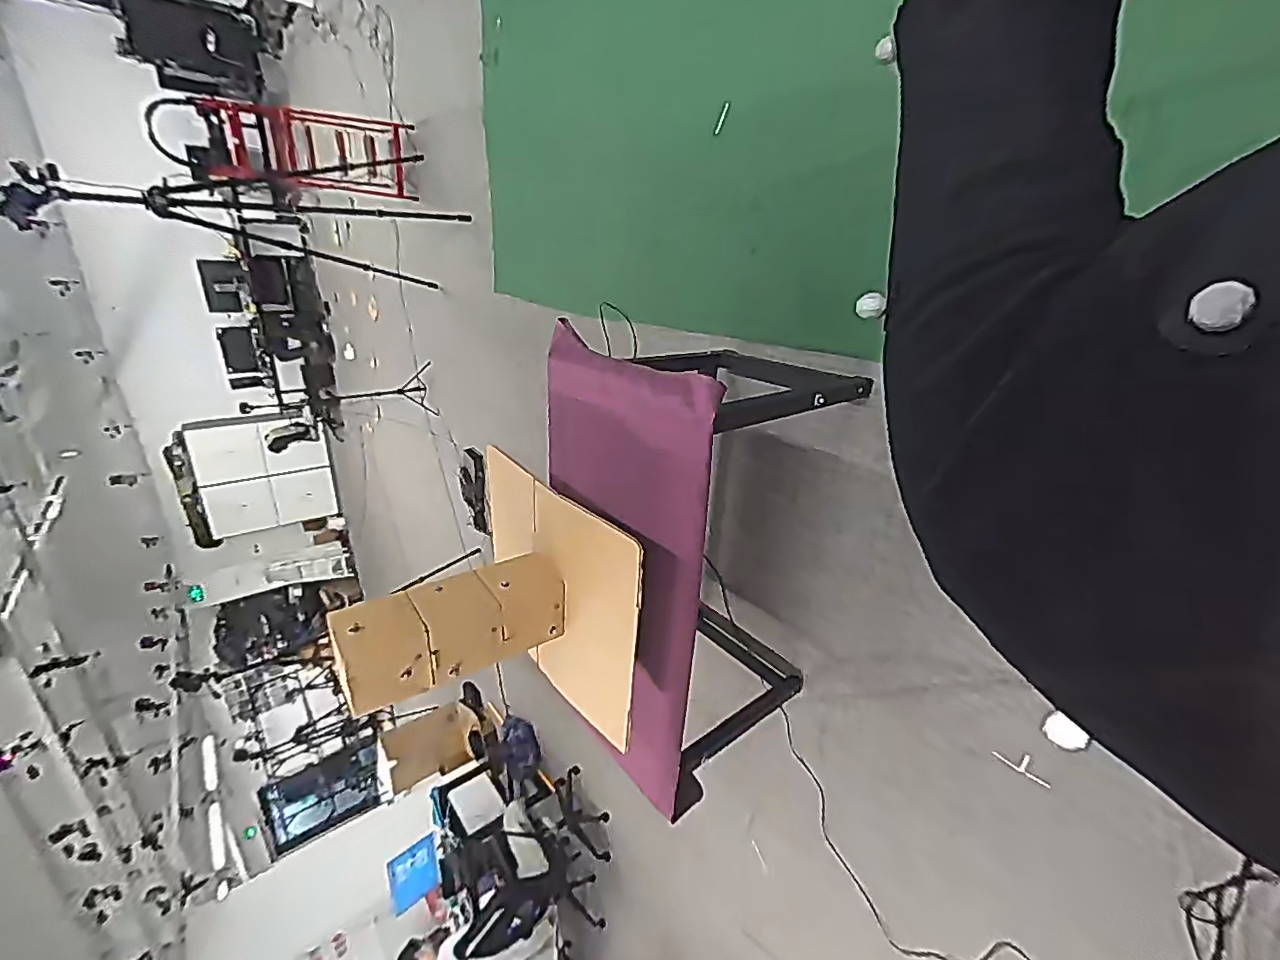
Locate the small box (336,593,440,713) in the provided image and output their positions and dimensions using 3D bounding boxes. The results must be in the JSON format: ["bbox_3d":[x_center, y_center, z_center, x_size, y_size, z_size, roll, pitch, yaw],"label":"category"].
[{"bbox_3d":[-0.560,0.373,1.207,0.179,0.176,0.168,30,125,46],"label":"small box"}]

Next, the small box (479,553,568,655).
[{"bbox_3d":[-0.297,0.309,1.393,0.179,0.176,0.168,32,127,45],"label":"small box"}]
